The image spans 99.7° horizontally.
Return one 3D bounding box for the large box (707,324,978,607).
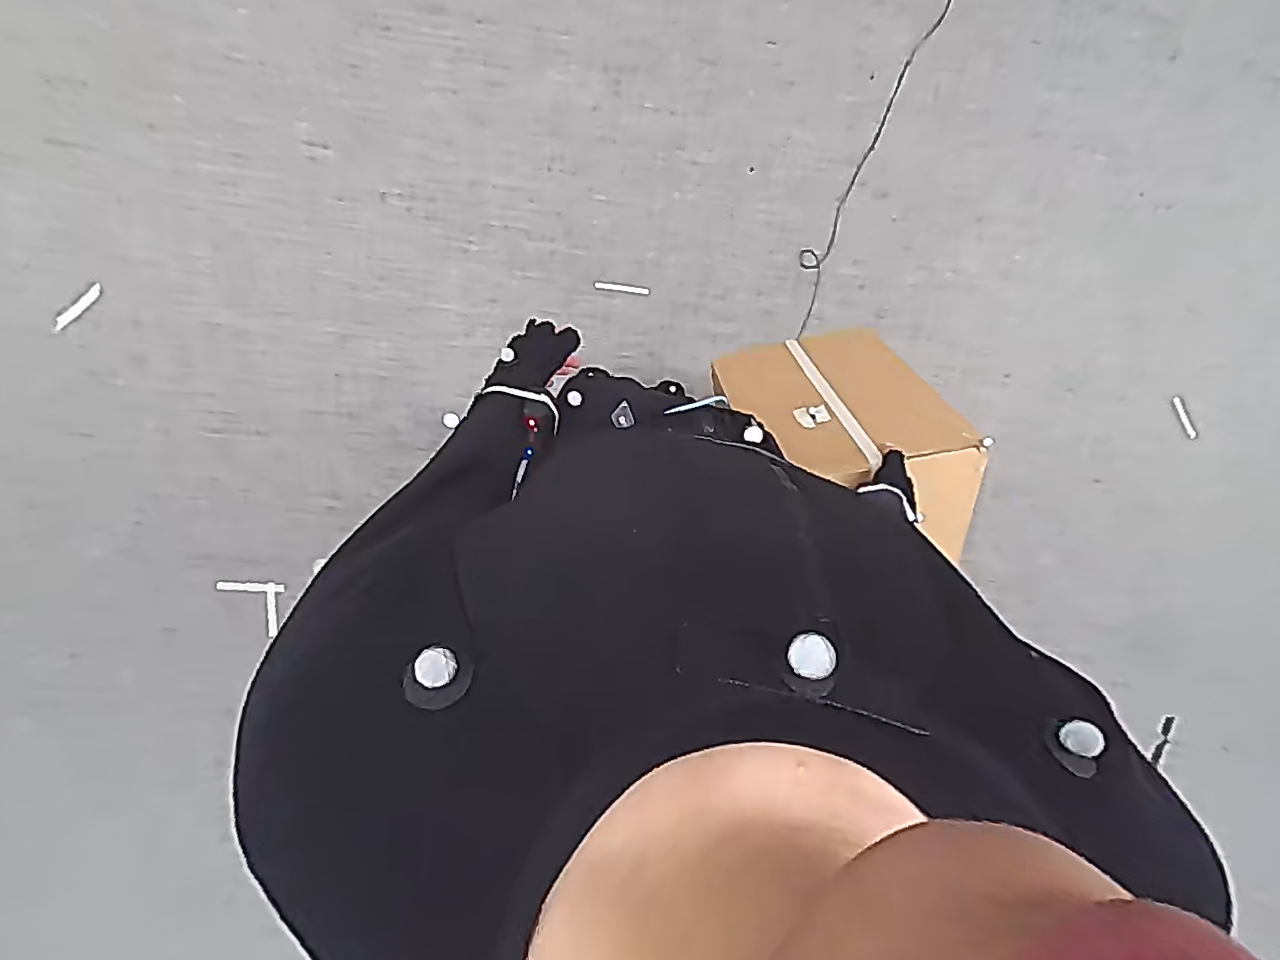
[{"bbox_3d":[0.324,-0.038,0.999,0.320,0.408,0.320,-11,131,2],"label":"large box"}]
